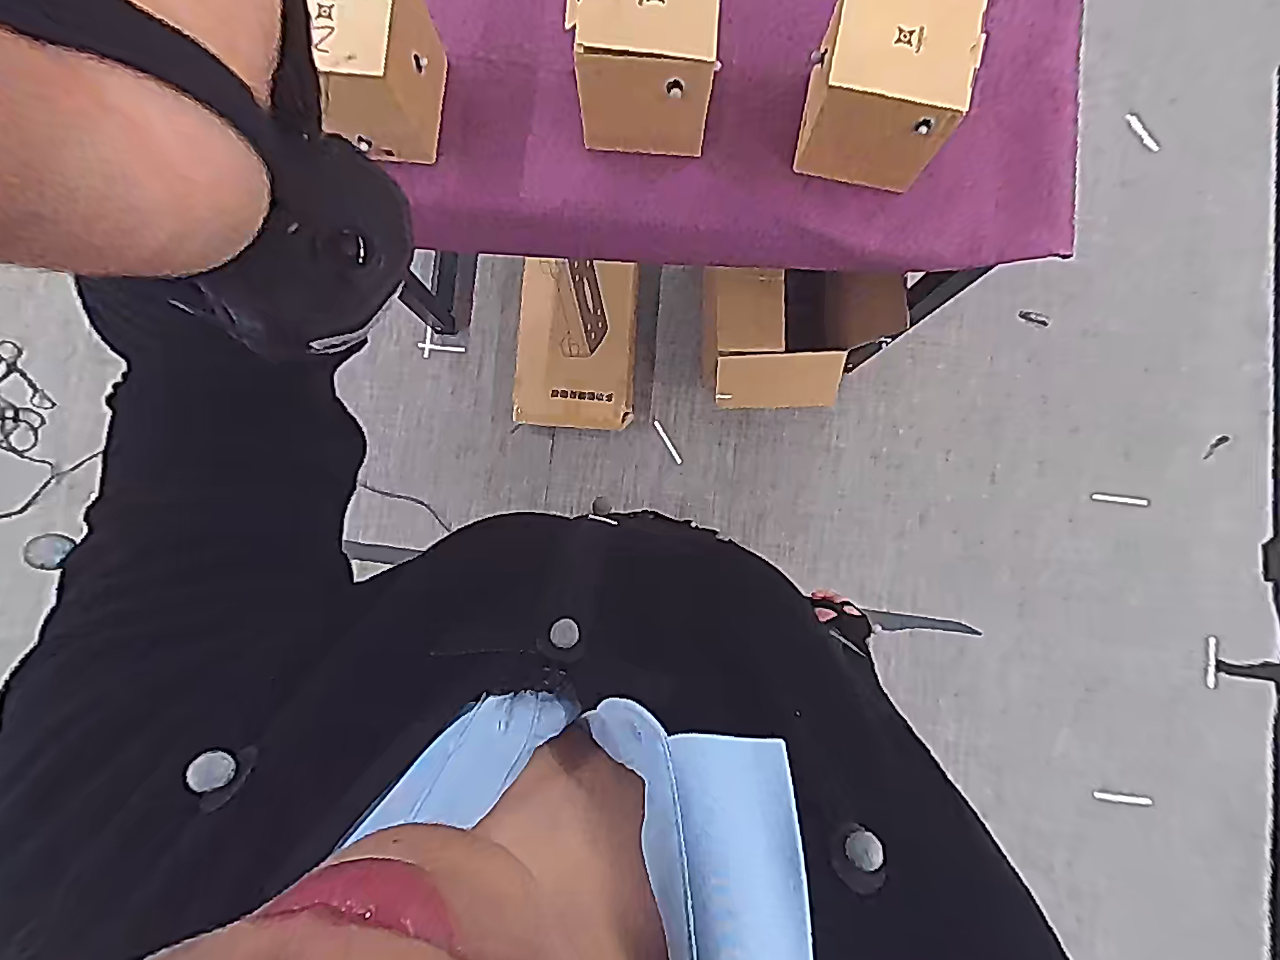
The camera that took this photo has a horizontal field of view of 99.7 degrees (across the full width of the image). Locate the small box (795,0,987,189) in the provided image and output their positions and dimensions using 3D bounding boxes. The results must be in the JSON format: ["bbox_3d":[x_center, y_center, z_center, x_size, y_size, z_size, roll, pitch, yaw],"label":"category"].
[{"bbox_3d":[0.326,-0.530,0.737,0.179,0.176,0.168,11,86,1],"label":"small box"}]

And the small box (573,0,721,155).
[{"bbox_3d":[0.011,-0.578,0.740,0.179,0.176,0.168,4,83,0],"label":"small box"}]
